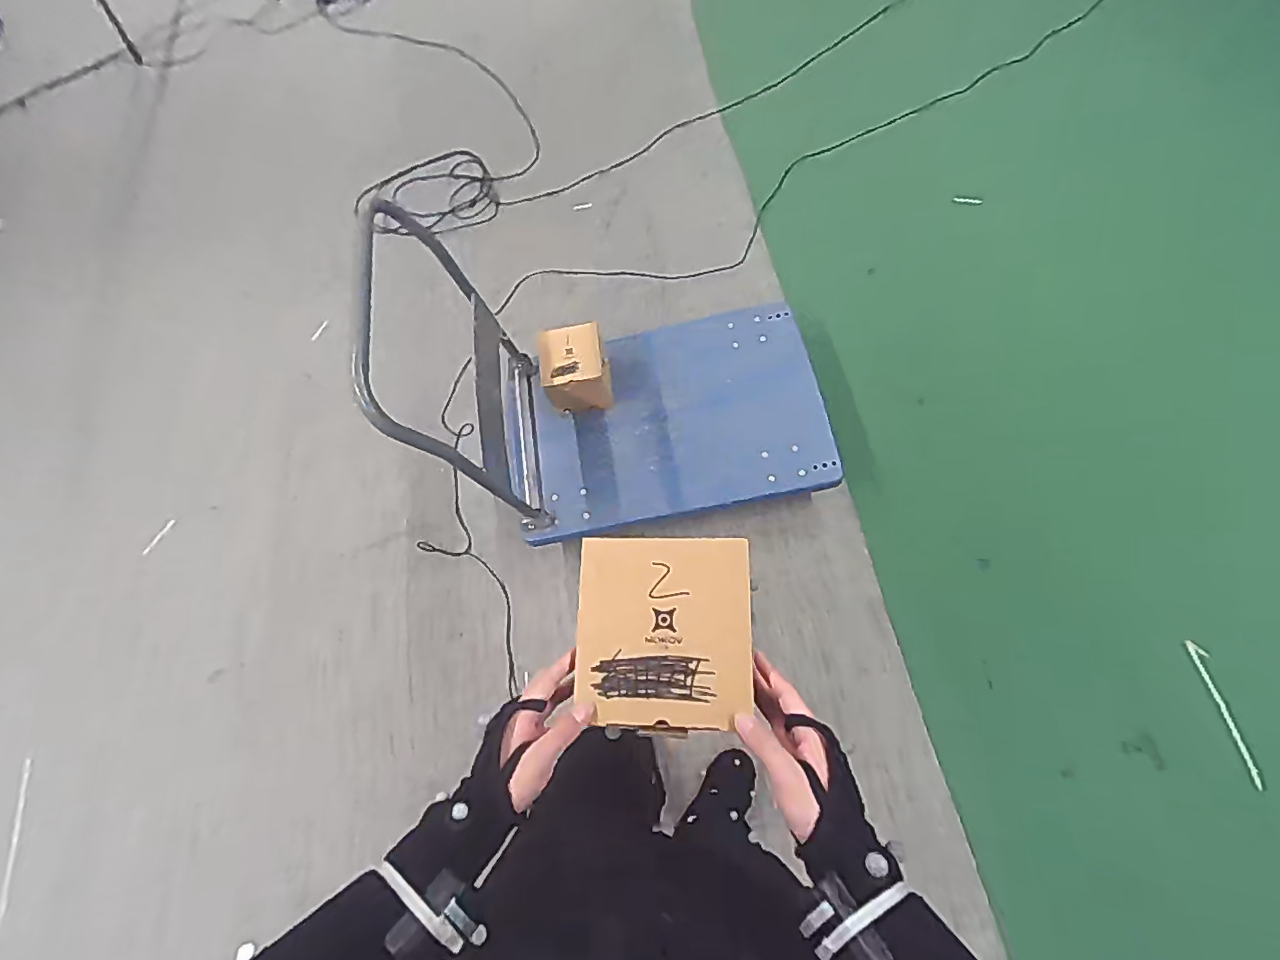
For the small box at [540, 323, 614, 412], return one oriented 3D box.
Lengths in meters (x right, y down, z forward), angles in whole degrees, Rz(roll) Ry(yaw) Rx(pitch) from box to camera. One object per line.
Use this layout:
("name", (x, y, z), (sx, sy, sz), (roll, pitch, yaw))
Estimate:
("small box", (-0.171, -0.303, 1.498), (0.168, 0.176, 0.179), (-9, 68, 5))
